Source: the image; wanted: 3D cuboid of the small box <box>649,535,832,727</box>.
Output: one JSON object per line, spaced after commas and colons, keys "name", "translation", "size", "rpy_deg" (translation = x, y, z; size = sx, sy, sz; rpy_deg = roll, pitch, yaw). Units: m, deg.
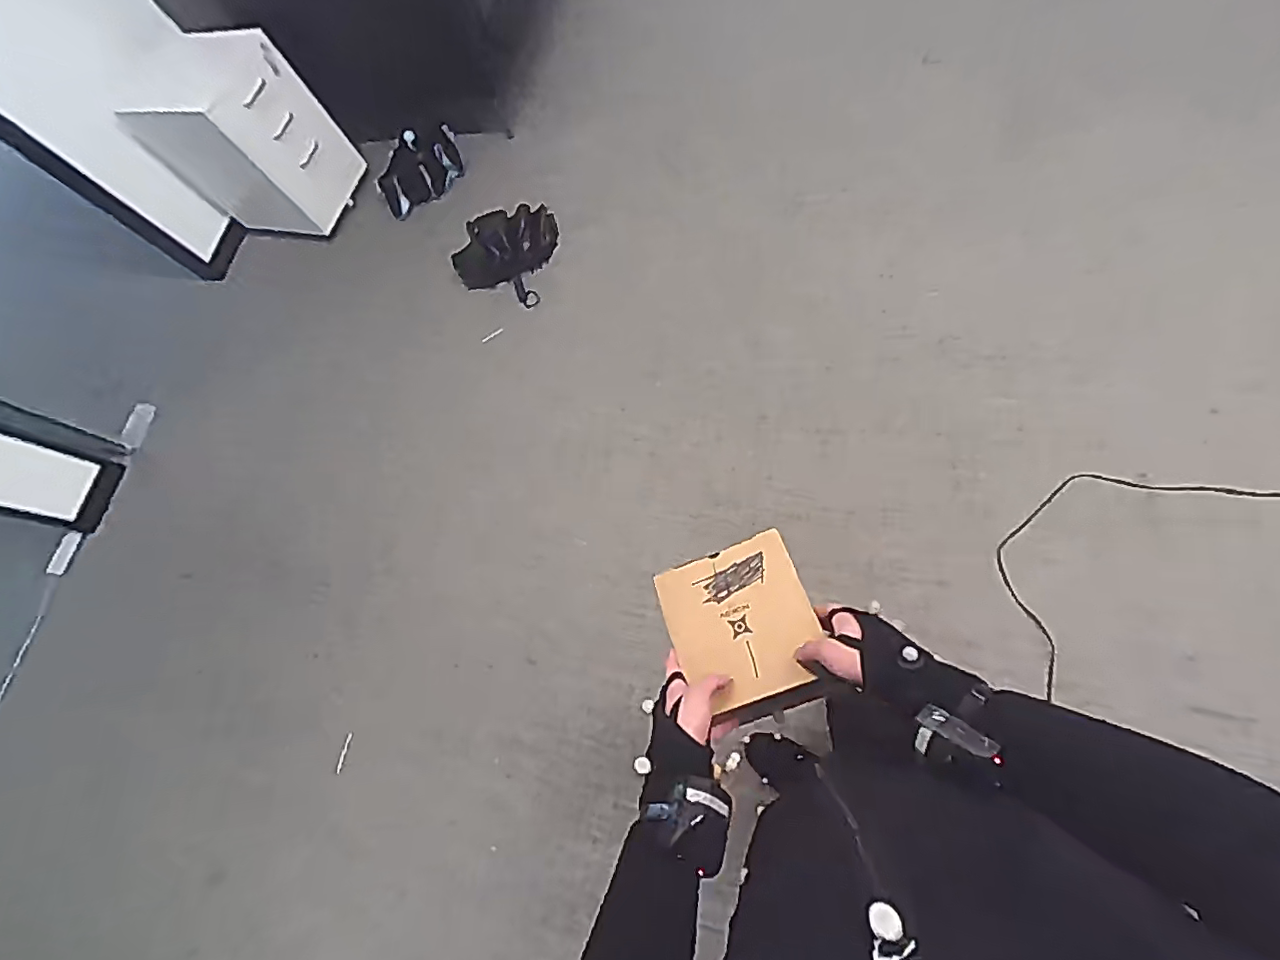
{"name": "small box", "translation": [0.132, 0.201, 0.696], "size": [0.168, 0.176, 0.179], "rpy_deg": [-24, 58, 11]}
